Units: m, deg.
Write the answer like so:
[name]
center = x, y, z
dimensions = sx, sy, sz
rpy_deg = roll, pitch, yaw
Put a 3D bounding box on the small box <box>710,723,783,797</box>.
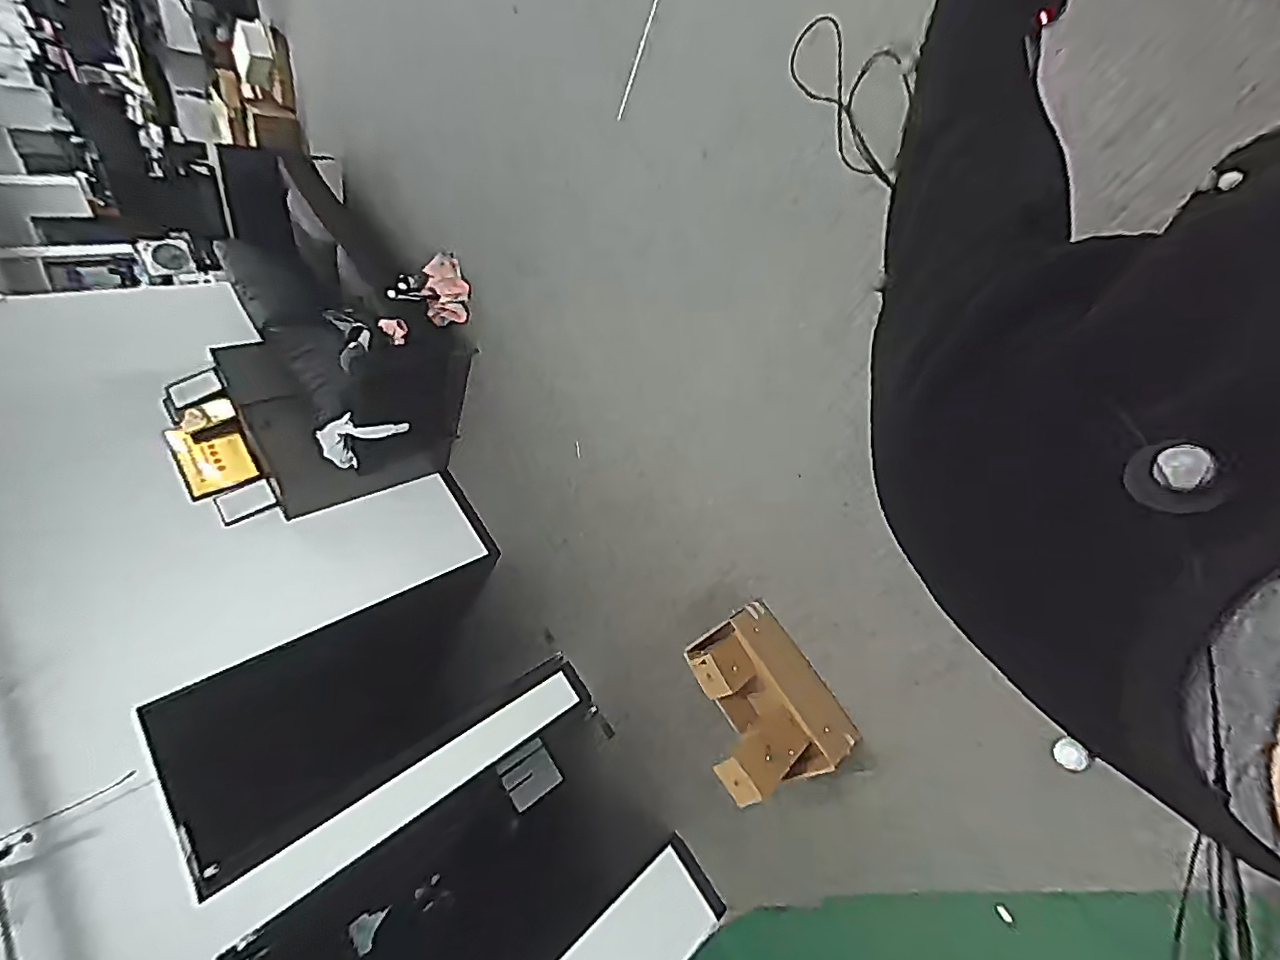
[small box]
center = 0.404, 1.053, 2.038
dimensions = 0.168, 0.176, 0.179
rpy_deg = 51, 138, 17
